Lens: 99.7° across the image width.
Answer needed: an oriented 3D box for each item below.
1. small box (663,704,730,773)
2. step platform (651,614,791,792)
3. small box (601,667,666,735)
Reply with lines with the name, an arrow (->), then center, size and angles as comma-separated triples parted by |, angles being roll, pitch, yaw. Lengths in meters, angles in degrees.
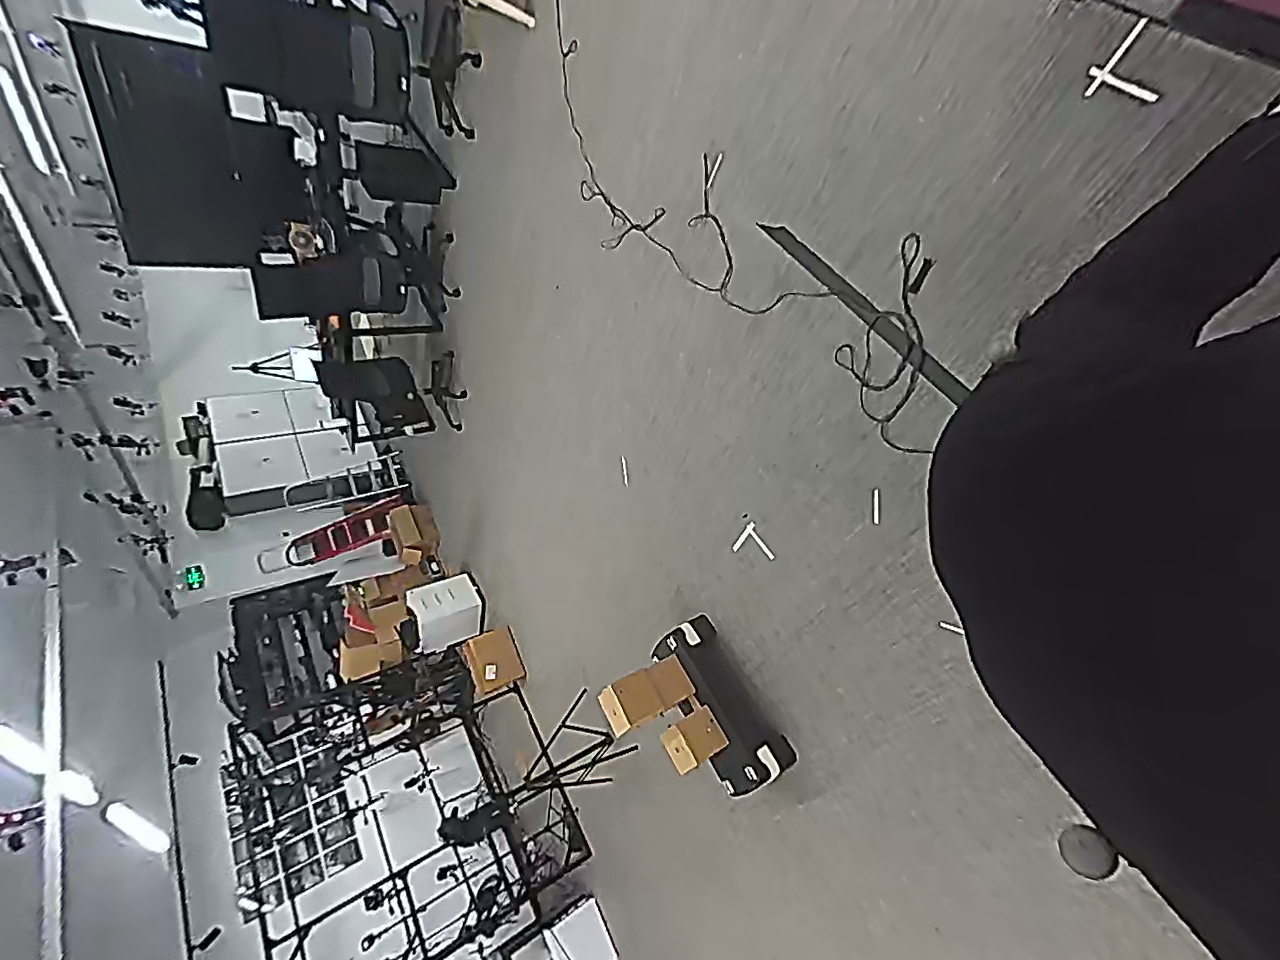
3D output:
small box -> 0.223, 1.017, 2.131 | 0.168, 0.176, 0.179 | 57, 142, 25
step platform -> 0.316, 0.930, 2.276 | 0.684, 0.204, 0.286 | 55, 142, 26
small box -> -0.025, 0.874, 2.143 | 0.179, 0.176, 0.168 | 58, 143, 25
